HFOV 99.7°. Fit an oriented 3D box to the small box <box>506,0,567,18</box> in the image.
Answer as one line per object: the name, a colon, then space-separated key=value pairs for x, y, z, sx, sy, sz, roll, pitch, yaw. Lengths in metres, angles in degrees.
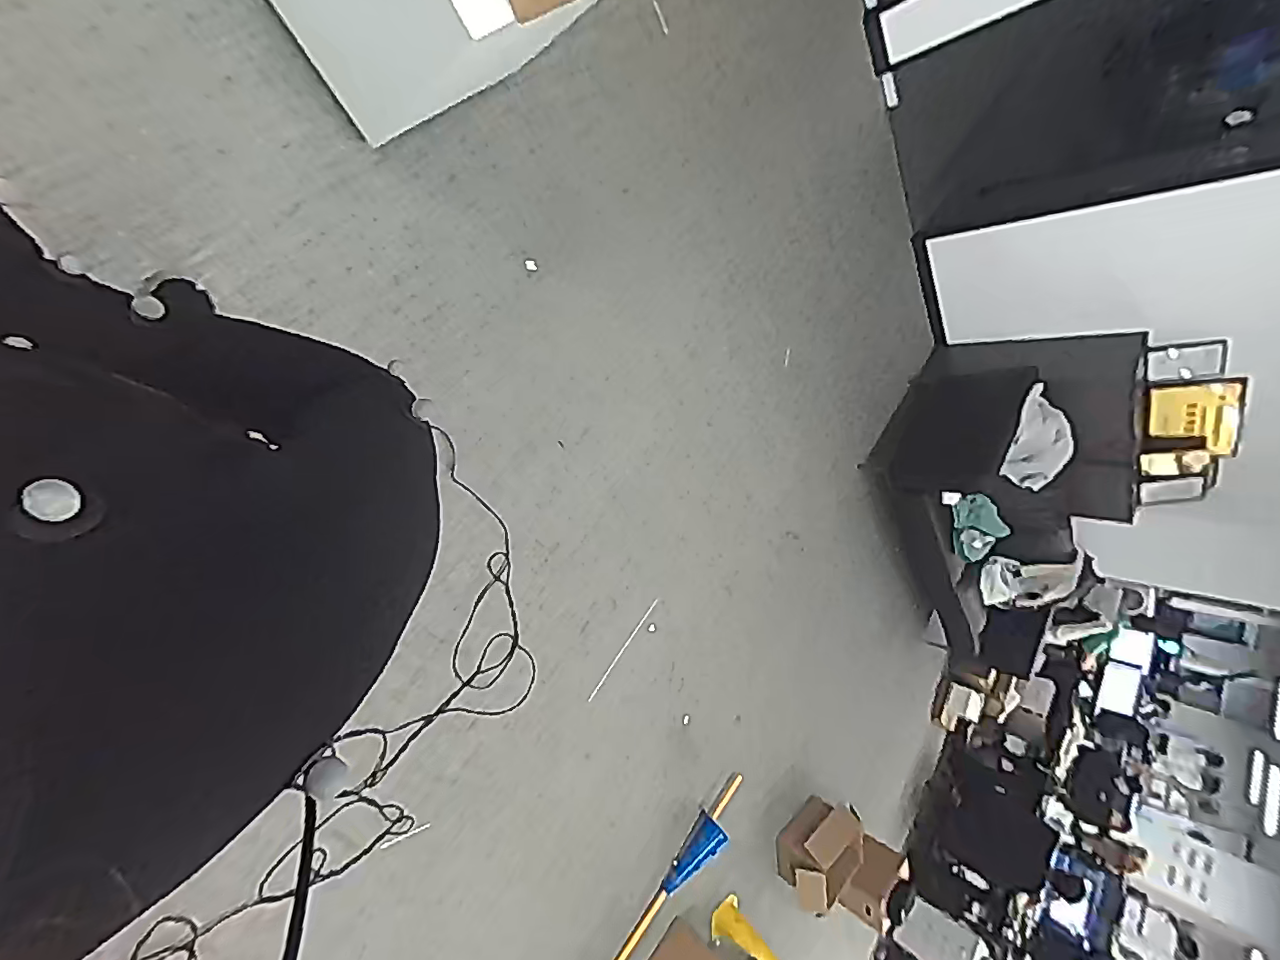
small box: x=-0.143 y=-0.901 z=0.872 sx=0.179 sy=0.176 sz=0.168 roll=-48 pitch=125 yaw=-25
